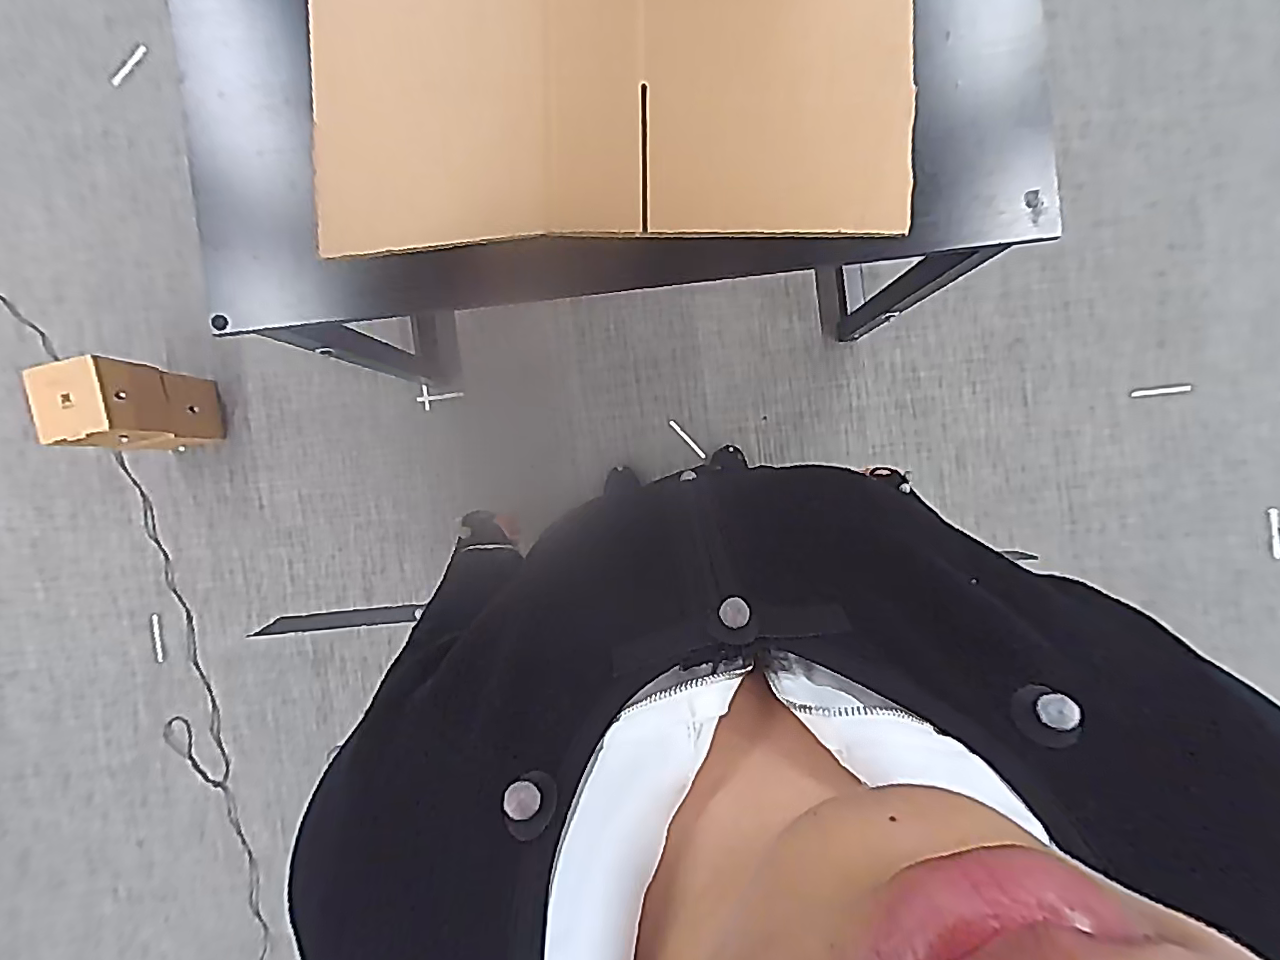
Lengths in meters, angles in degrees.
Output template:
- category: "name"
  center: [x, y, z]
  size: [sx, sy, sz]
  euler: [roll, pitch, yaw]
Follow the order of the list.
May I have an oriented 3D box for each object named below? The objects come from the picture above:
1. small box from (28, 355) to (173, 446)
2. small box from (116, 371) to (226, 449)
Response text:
- category: "small box"
  center: [-1.274, -0.182, 1.291]
  size: [0.168, 0.176, 0.179]
  euler: [-13, 91, 1]
- category: "small box"
  center: [-1.268, -0.182, 1.454]
  size: [0.168, 0.176, 0.179]
  euler: [-10, 92, 2]
